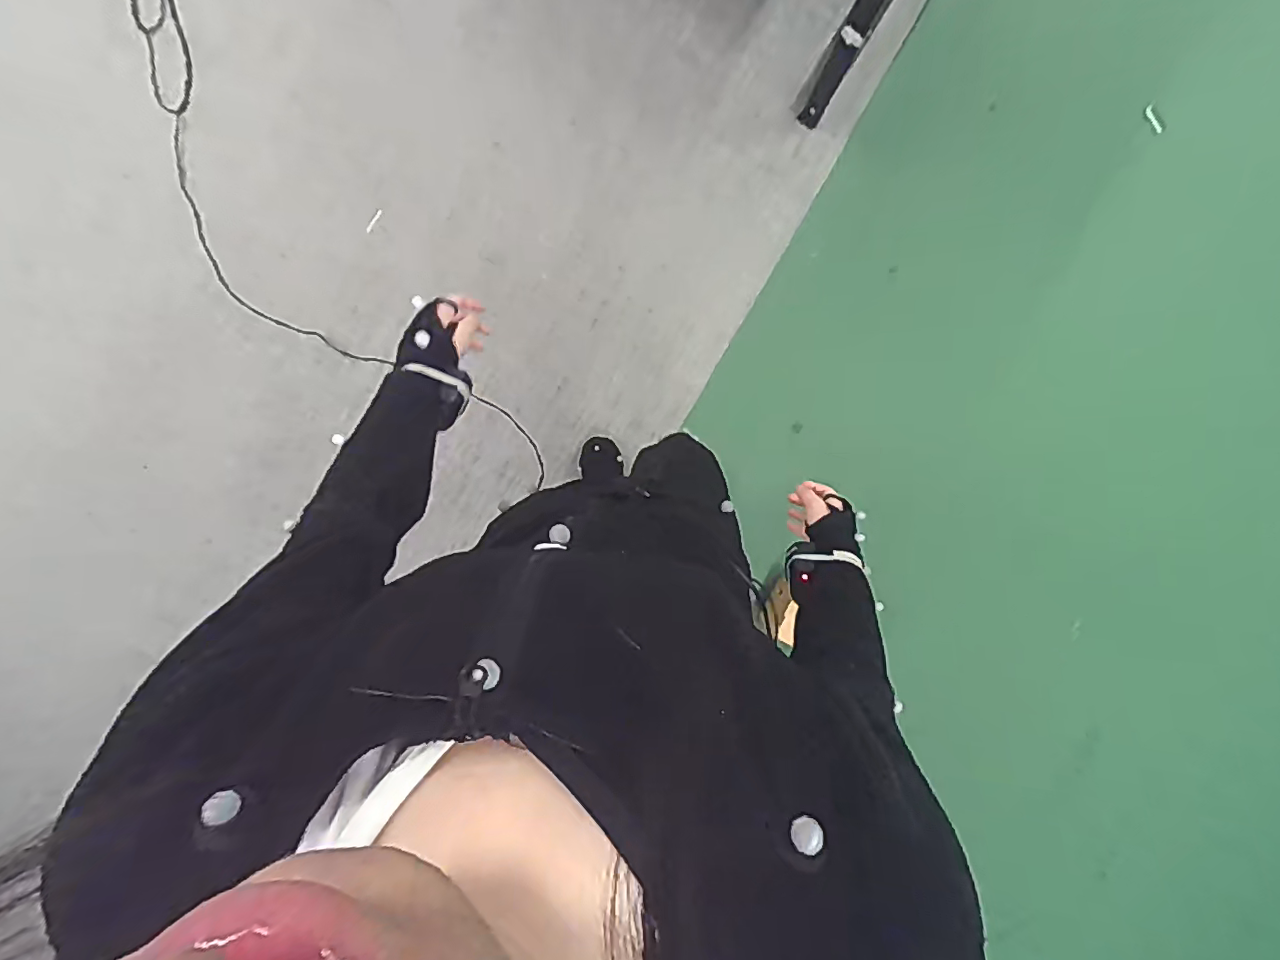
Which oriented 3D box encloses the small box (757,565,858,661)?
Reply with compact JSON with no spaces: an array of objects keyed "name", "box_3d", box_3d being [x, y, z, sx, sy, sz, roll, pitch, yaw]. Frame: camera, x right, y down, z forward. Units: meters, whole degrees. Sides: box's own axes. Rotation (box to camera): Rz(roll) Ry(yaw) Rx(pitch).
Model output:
[{"name":"small box","box_3d":[0.443,0.348,1.458,0.179,0.176,0.168,29,93,-2]}]
